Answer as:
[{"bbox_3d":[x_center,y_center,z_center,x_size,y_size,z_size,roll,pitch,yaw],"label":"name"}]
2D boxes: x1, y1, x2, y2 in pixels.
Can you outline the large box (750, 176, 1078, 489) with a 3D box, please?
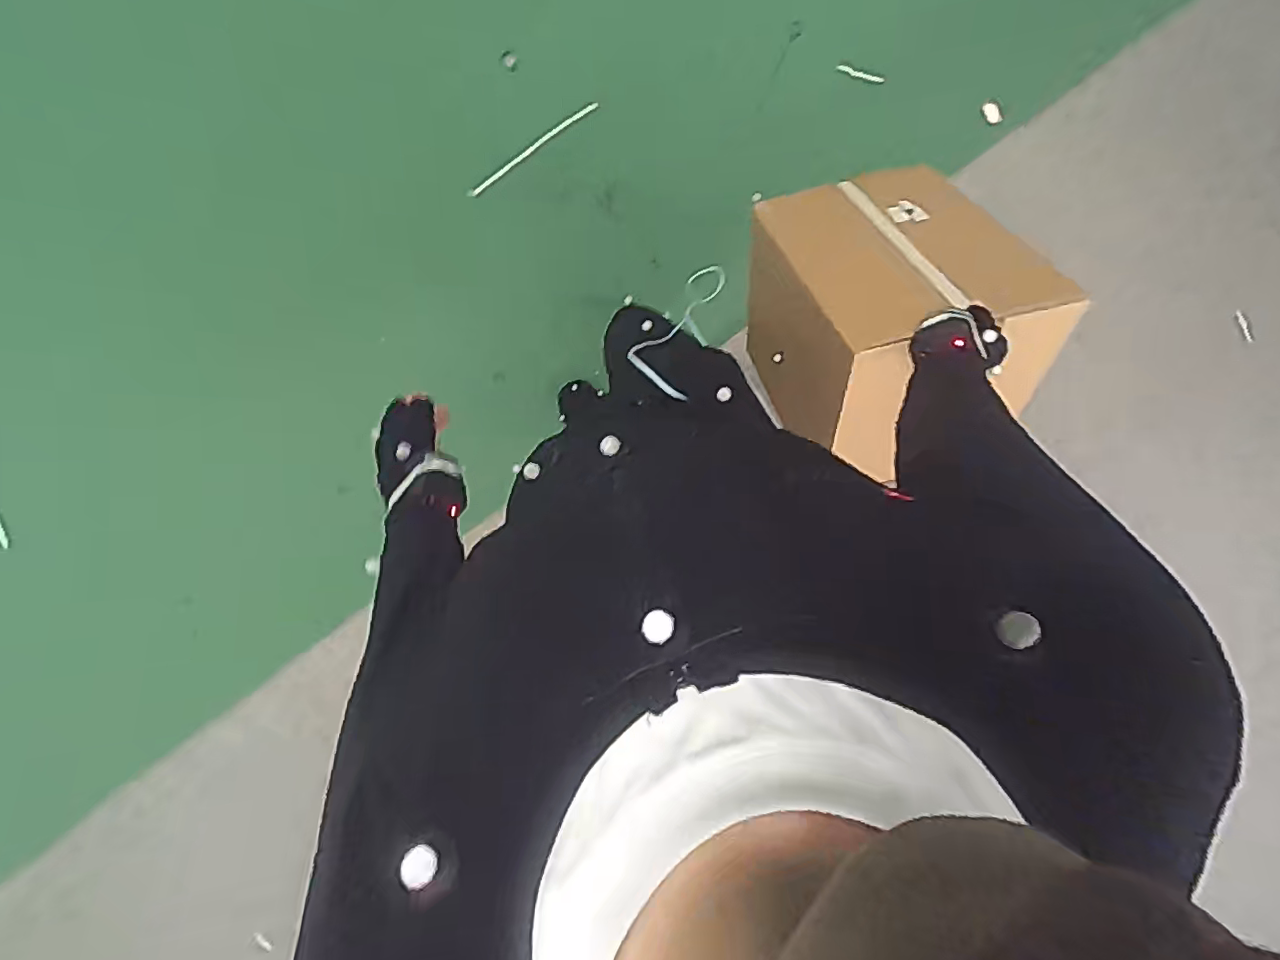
[{"bbox_3d":[0.400,-0.253,0.928,0.320,0.408,0.320,-12,141,-2],"label":"large box"}]
